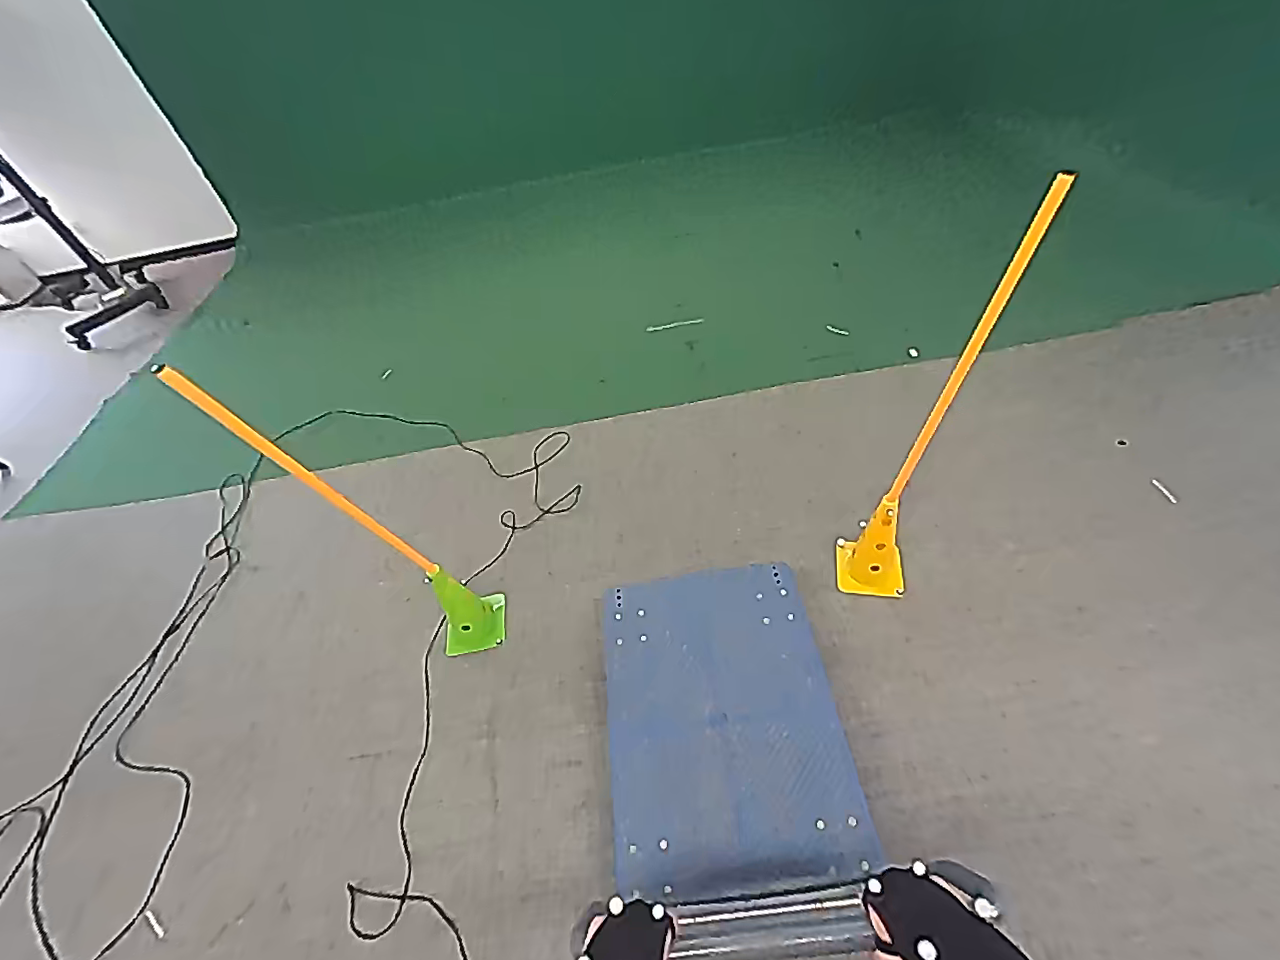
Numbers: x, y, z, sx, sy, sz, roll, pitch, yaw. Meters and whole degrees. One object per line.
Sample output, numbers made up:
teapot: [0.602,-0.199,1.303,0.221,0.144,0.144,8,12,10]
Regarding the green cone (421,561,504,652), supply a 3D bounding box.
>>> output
green cone: [-0.594,0.366,1.727,0.202,0.368,0.200,-14,47,1]
